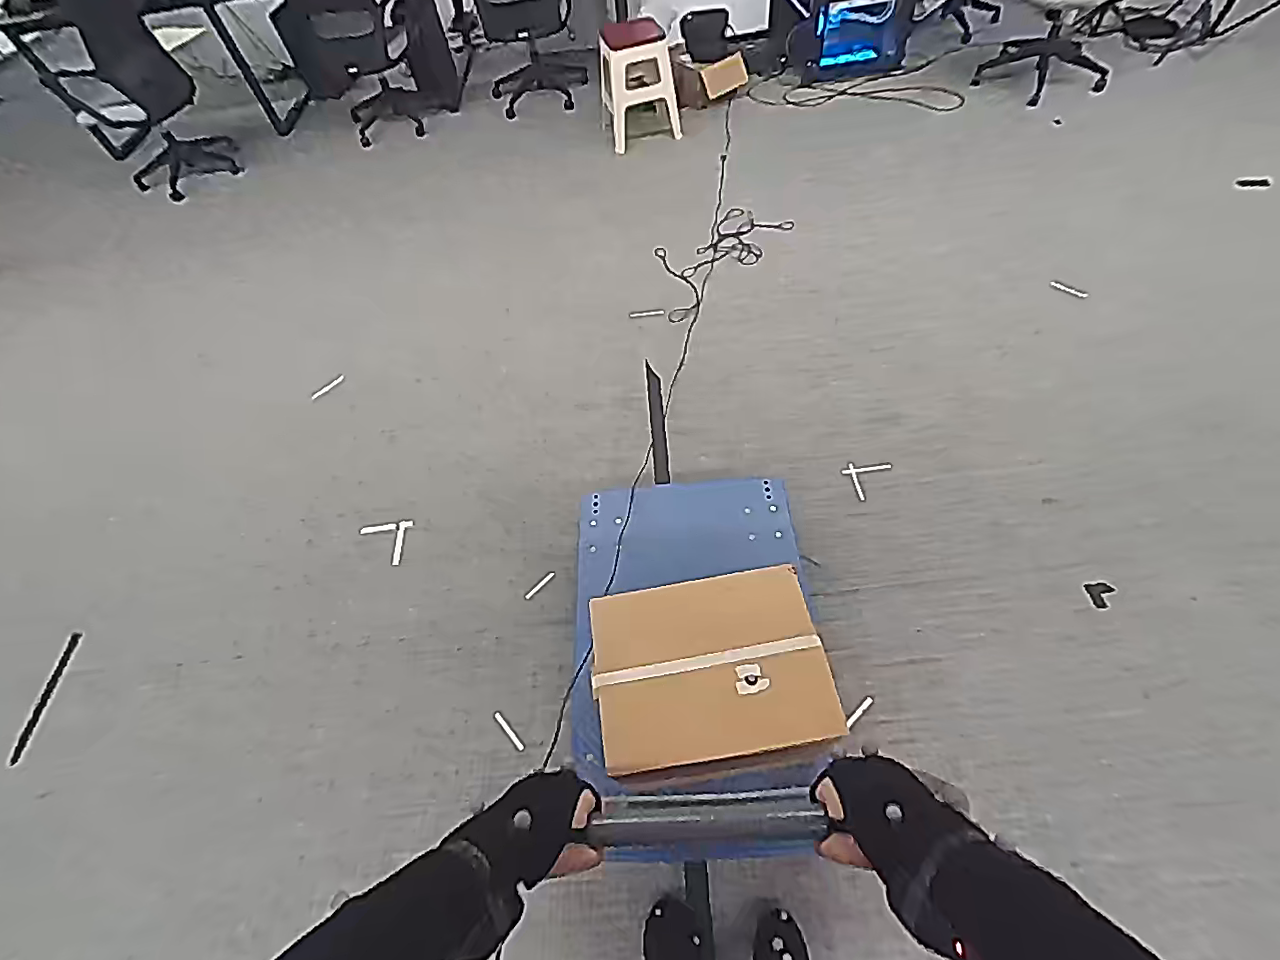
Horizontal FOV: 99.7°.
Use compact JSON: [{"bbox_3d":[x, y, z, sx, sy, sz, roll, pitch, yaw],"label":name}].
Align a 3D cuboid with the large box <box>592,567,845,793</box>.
[{"bbox_3d":[0.137,0.415,1.101,0.408,0.320,0.320,-10,56,-1],"label":"large box"}]
